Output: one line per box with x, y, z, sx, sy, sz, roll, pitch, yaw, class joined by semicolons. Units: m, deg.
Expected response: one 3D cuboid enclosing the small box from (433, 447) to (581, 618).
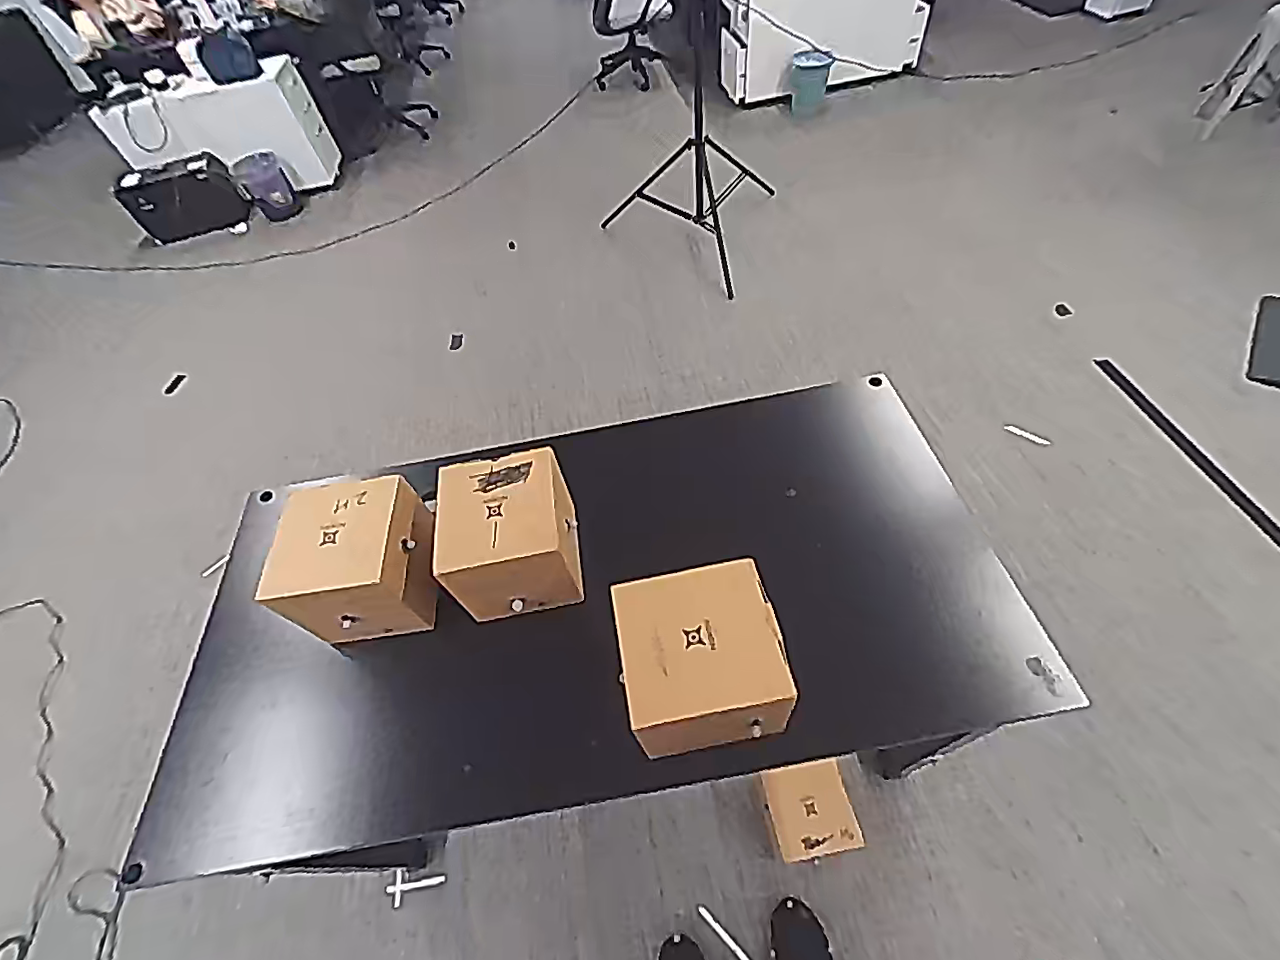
-0.188;0.081;0.800;0.168;0.176;0.179;-12;55;0;small box

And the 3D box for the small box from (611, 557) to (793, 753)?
0.071;0.219;0.665;0.179;0.176;0.168;-13;52;0;small box

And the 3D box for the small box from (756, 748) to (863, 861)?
0.356;0.707;1.175;0.168;0.176;0.179;-12;53;0;small box

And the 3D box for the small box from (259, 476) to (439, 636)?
-0.409;0.120;0.803;0.168;0.176;0.179;-8;54;1;small box
